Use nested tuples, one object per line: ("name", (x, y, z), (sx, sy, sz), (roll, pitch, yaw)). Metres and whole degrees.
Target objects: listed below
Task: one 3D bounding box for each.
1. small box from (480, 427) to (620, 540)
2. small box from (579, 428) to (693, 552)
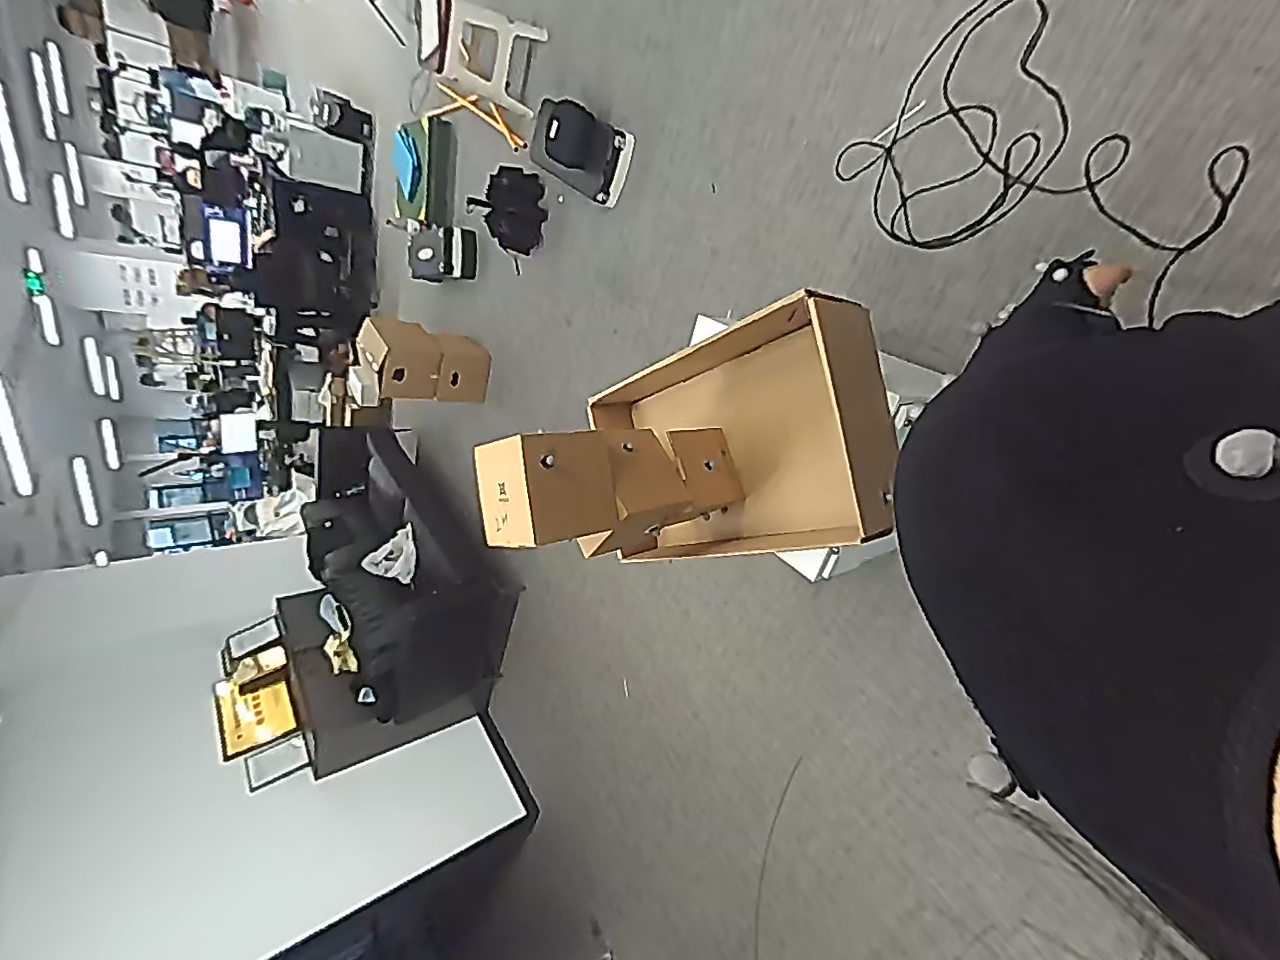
("small box", (-0.154, 0.004, 0.939), (0.168, 0.176, 0.179), (-7, 92, 49))
("small box", (-0.032, 0.013, 1.053), (0.168, 0.176, 0.179), (-49, 62, 42))
